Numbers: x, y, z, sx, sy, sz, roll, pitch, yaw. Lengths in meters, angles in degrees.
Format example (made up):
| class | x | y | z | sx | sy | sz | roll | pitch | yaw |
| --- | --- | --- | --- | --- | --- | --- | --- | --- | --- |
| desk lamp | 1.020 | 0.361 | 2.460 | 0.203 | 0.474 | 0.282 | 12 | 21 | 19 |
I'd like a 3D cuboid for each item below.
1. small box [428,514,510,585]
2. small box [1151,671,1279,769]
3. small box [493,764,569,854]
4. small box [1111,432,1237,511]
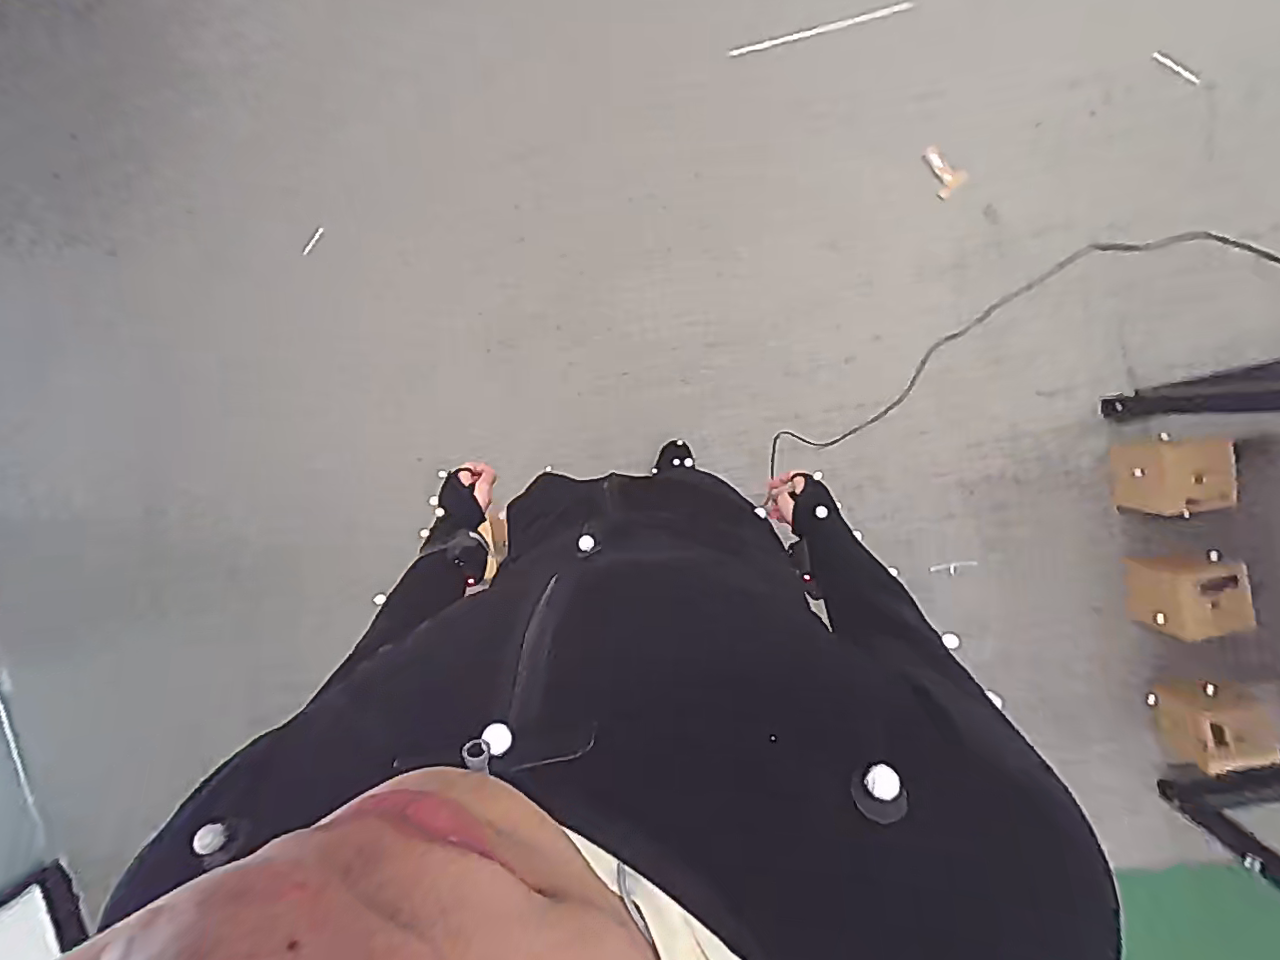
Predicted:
| class | x | y | z | sx | sy | sz | roll | pitch | yaw |
| --- | --- | --- | --- | --- | --- | --- | --- | --- | --- |
| small box | -0.491 | 0.198 | 1.584 | 0.179 | 0.176 | 0.168 | -7 | 95 | 5 |
| small box | 1.537 | 0.641 | 1.459 | 0.179 | 0.176 | 0.168 | -14 | 95 | 5 |
| small box | -0.323 | 0.997 | 1.652 | 0.179 | 0.176 | 0.168 | -12 | 95 | 7 |
| small box | 1.377 | -0.025 | 1.407 | 0.168 | 0.176 | 0.179 | -9 | 94 | 6 |
